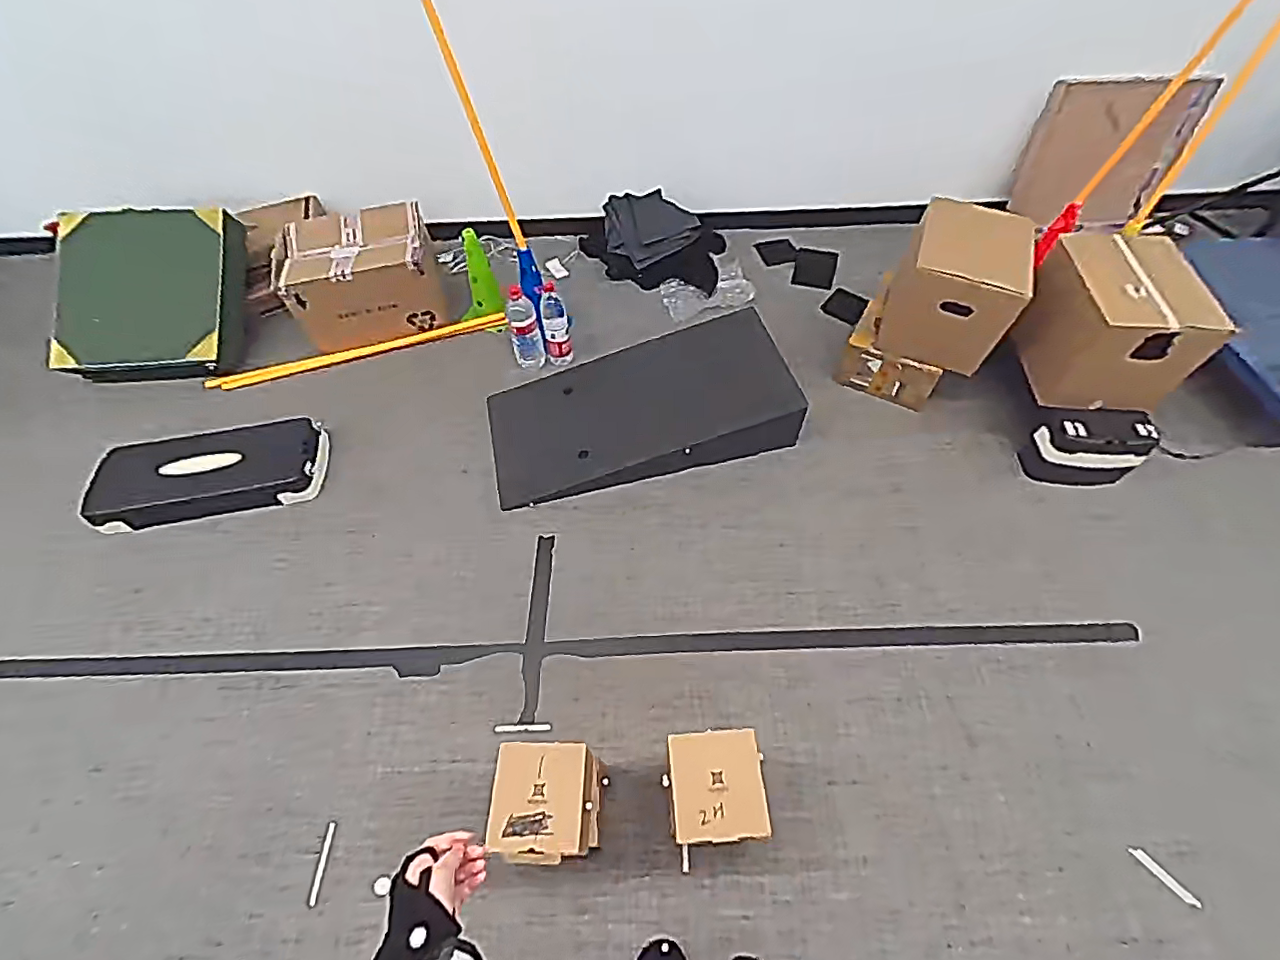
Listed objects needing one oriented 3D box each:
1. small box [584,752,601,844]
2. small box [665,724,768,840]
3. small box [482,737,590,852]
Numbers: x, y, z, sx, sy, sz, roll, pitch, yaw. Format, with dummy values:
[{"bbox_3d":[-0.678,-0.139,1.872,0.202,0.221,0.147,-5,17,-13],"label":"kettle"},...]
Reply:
[{"bbox_3d":[-0.175,0.691,1.172,0.179,0.176,0.168,-2,56,0],"label":"small box"},{"bbox_3d":[0.136,0.581,1.038,0.168,0.176,0.179,-4,57,0],"label":"small box"},{"bbox_3d":[-0.187,0.603,1.034,0.168,0.176,0.179,1,55,1],"label":"small box"}]
